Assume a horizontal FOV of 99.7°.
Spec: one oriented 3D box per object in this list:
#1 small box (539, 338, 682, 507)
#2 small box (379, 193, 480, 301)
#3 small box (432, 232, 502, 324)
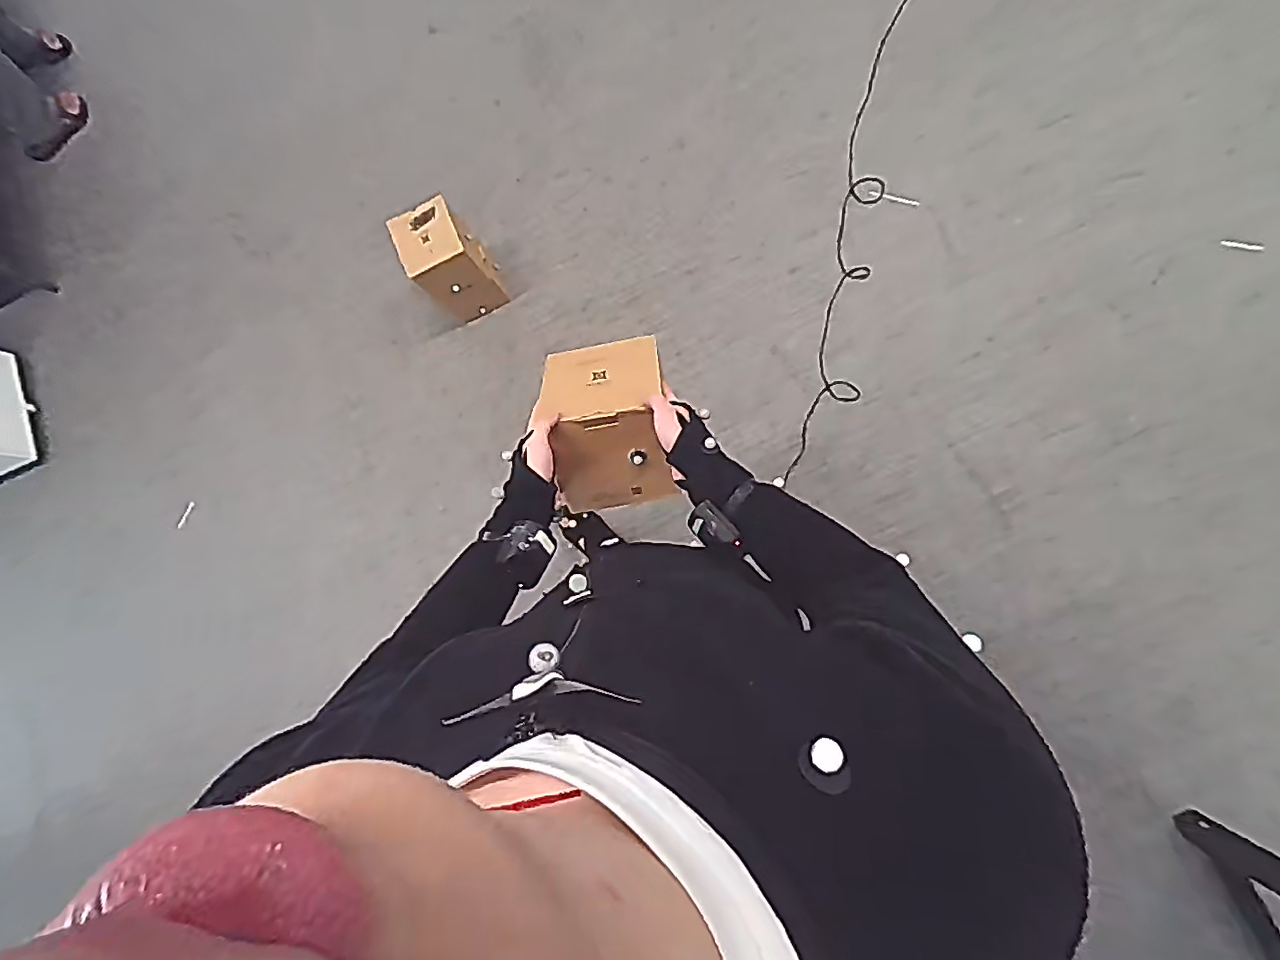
[{"bbox_3d":[-0.038,-0.077,0.789,0.168,0.176,0.179,-11,43,5],"label":"small box"},{"bbox_3d":[-0.559,-0.617,1.453,0.168,0.176,0.179,-22,82,6],"label":"small box"},{"bbox_3d":[-0.540,-0.605,1.638,0.179,0.176,0.168,-27,83,4],"label":"small box"}]
